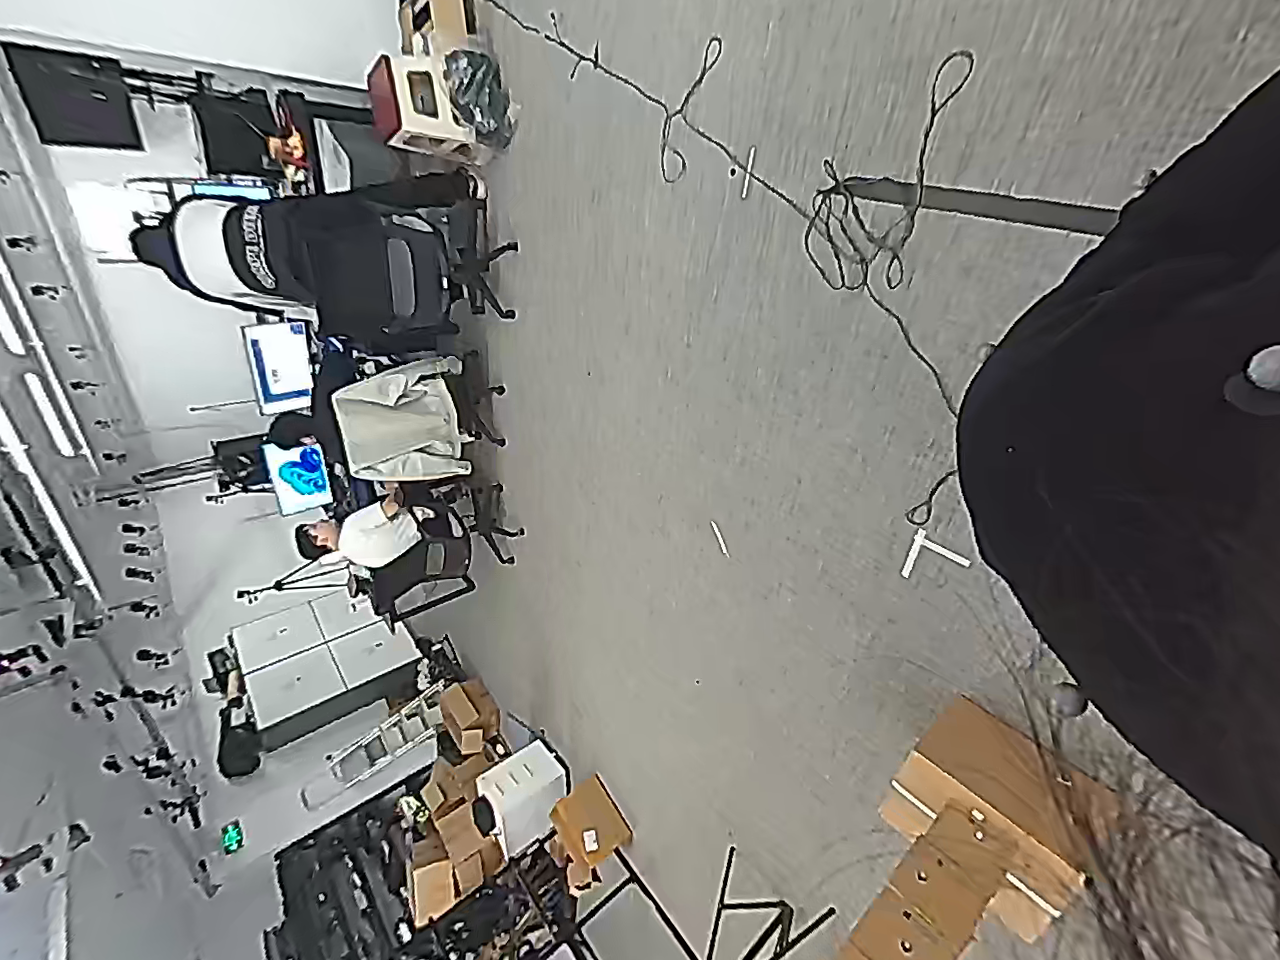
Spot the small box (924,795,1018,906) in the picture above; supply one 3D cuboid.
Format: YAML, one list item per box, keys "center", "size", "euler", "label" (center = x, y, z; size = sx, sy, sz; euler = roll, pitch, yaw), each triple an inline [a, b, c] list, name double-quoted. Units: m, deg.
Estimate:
- center: [0.791, 0.933, 1.331]
  size: [0.168, 0.176, 0.179]
  euler: [32, 128, 40]
  label: "small box"

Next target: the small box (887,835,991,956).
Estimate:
- center: [0.666, 0.968, 1.235]
  size: [0.168, 0.176, 0.179]
  euler: [31, 129, 42]
  label: "small box"

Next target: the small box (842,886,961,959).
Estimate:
- center: [0.543, 1.016, 1.136]
  size: [0.168, 0.176, 0.179]
  euler: [27, 125, 44]
  label: "small box"
